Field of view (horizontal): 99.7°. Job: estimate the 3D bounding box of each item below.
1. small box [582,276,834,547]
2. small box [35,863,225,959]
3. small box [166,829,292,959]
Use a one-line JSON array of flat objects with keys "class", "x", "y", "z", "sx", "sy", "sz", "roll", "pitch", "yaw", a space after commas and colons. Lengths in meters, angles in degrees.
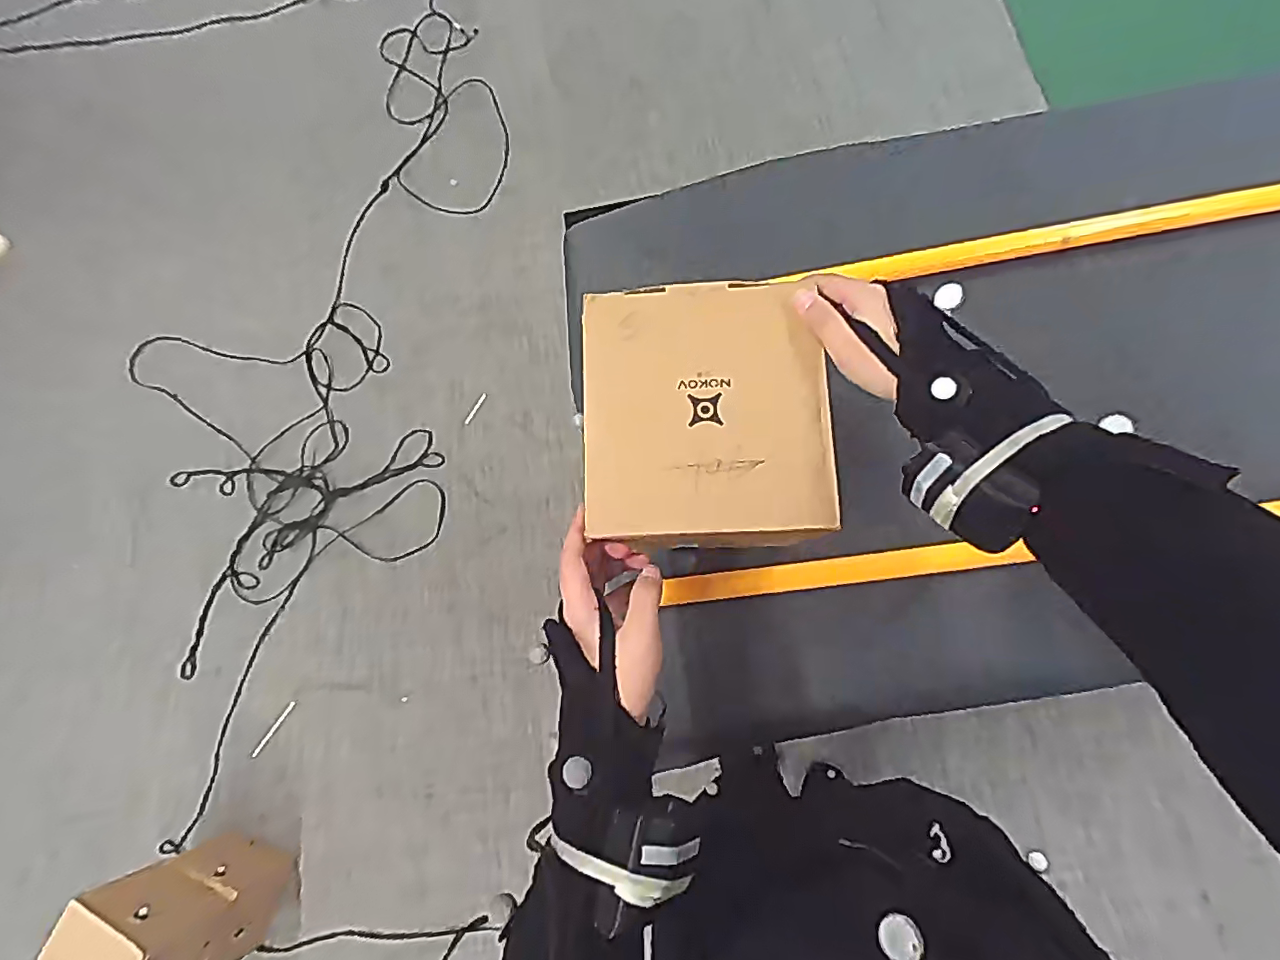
[{"class": "small box", "x": 0.046, "y": -0.040, "z": 0.444, "sx": 0.168, "sy": 0.176, "sz": 0.179, "roll": -3, "pitch": 80, "yaw": 4}, {"class": "small box", "x": -0.884, "y": 0.810, "z": 0.936, "sx": 0.179, "sy": 0.176, "sz": 0.168, "roll": 21, "pitch": 77, "yaw": 12}, {"class": "small box", "x": -0.857, "y": 0.854, "z": 1.093, "sx": 0.168, "sy": 0.176, "sz": 0.179, "roll": 16, "pitch": 77, "yaw": 10}]
